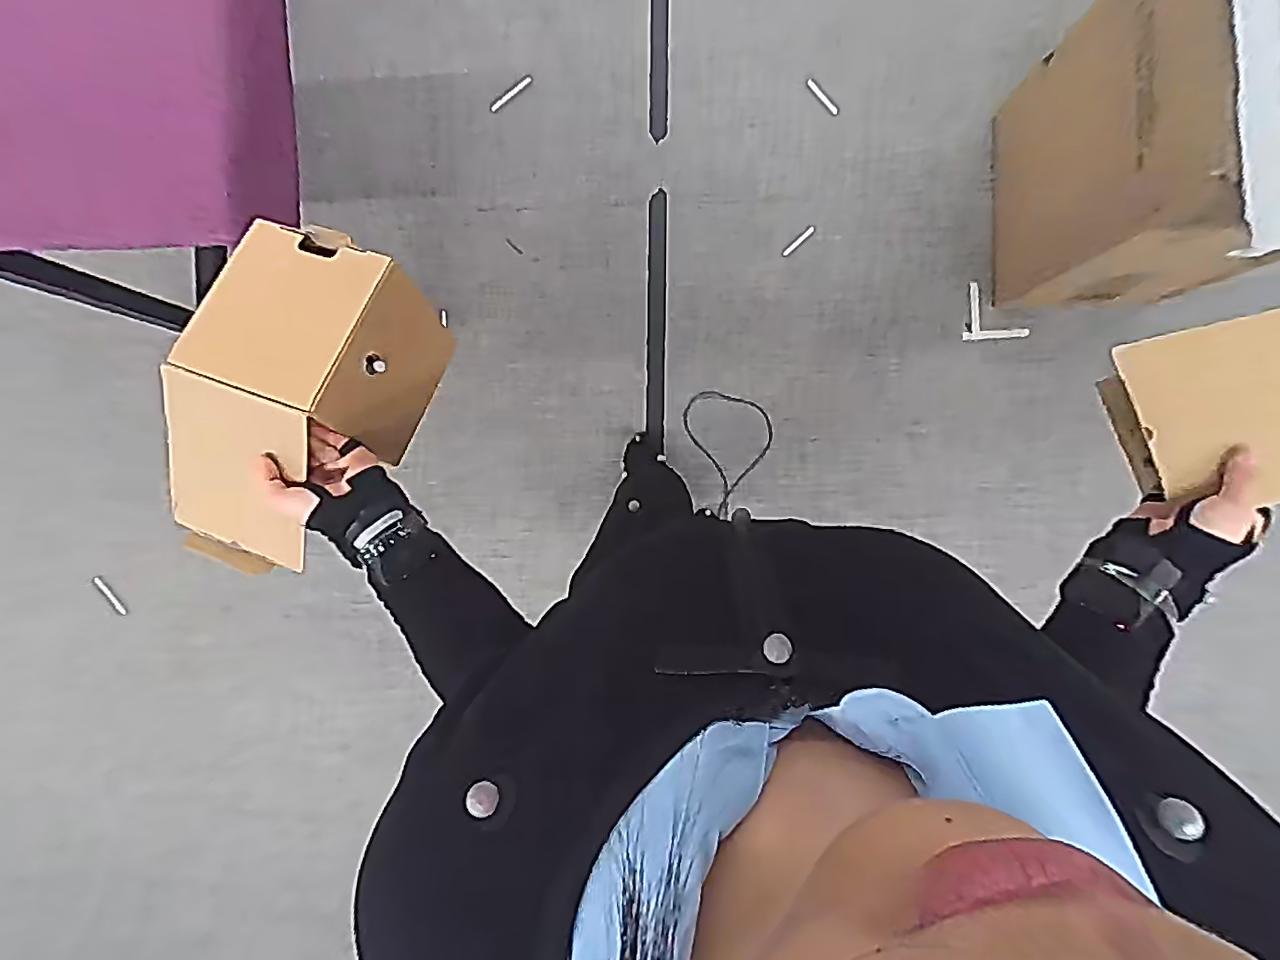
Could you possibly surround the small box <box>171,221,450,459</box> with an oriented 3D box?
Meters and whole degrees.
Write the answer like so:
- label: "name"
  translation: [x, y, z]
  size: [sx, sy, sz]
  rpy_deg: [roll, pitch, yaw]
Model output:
- label: "small box"
  translation: [-0.341, -0.143, 0.602]
  size: [0.168, 0.176, 0.179]
  rpy_deg: [19, 76, 8]
